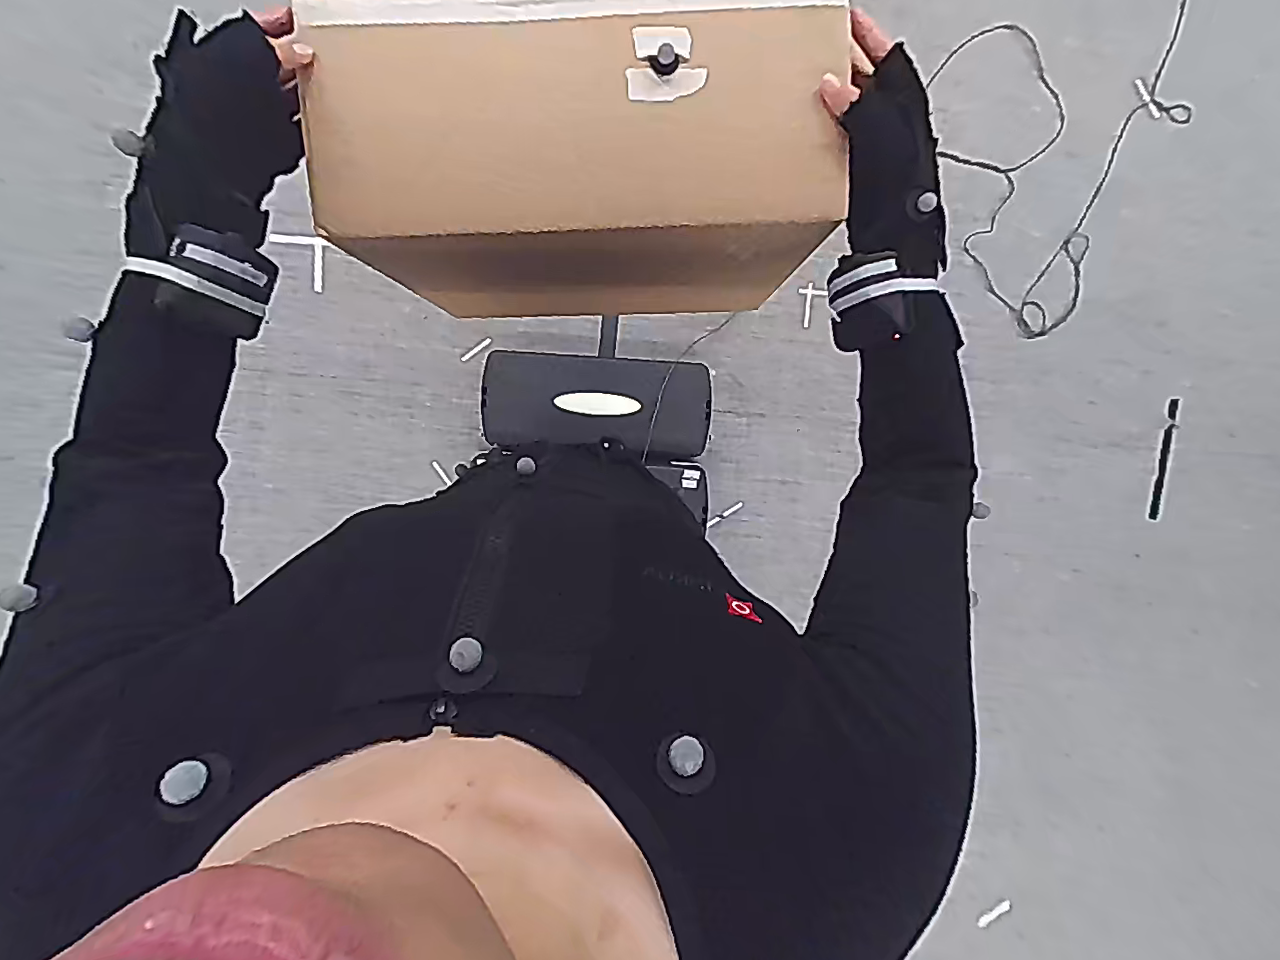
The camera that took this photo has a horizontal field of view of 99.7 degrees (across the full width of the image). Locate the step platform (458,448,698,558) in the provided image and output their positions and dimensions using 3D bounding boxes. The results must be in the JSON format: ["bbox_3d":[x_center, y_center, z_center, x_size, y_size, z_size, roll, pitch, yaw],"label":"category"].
[{"bbox_3d":[-0.171,0.066,1.578,0.684,0.204,0.286,3,93,-2],"label":"step platform"}]

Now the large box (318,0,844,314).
[{"bbox_3d":[-0.048,-0.367,0.557,0.408,0.320,0.320,-2,96,-1],"label":"large box"}]
